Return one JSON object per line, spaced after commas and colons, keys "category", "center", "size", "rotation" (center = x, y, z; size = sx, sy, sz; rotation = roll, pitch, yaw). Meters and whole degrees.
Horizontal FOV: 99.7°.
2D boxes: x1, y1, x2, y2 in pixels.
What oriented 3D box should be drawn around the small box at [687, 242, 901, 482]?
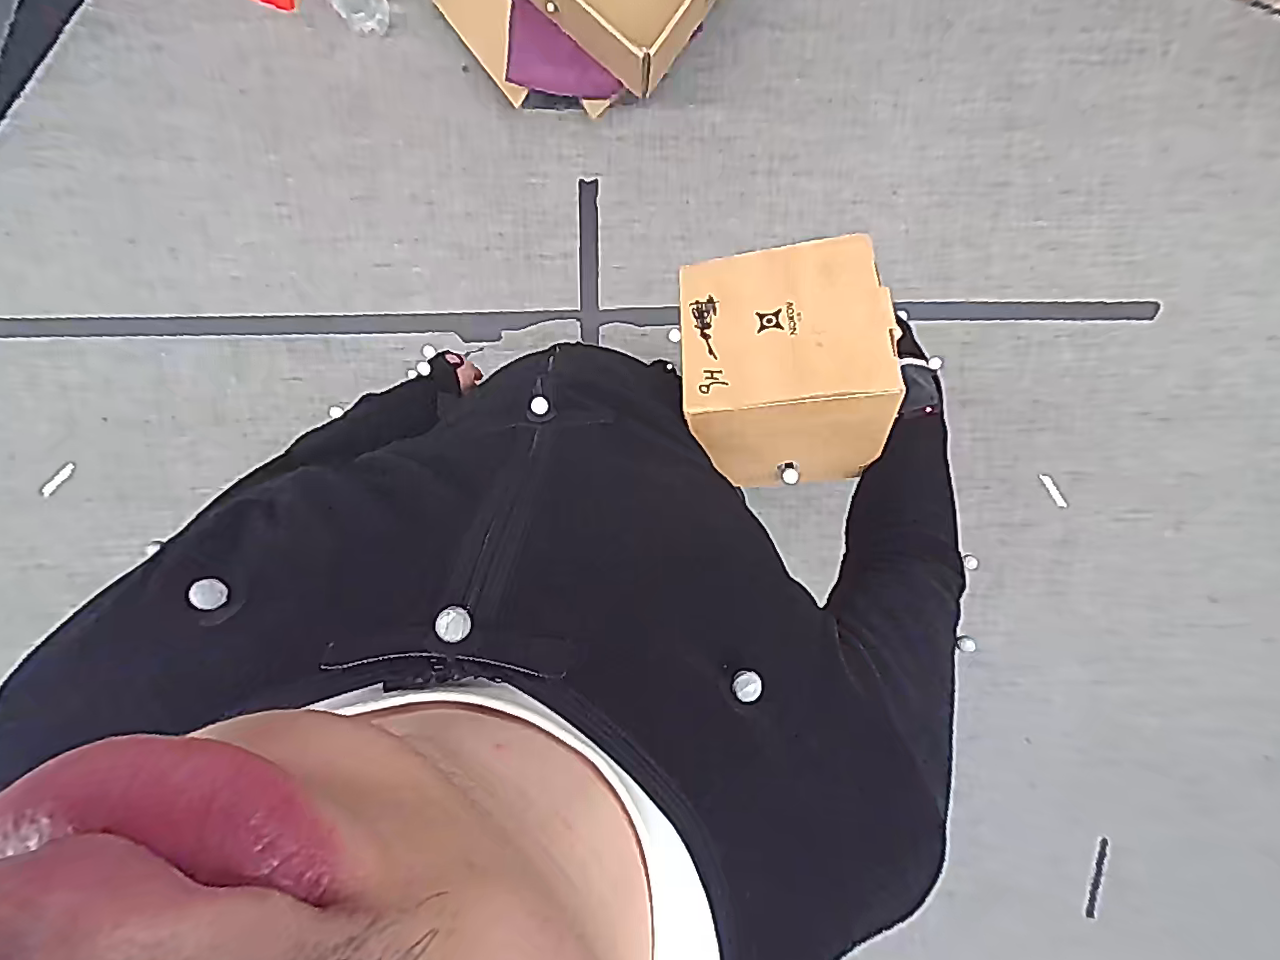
{"category": "small box", "center": [0.145, -0.108, 0.555], "size": [0.179, 0.176, 0.168], "rotation": [-5, 65, 12]}
